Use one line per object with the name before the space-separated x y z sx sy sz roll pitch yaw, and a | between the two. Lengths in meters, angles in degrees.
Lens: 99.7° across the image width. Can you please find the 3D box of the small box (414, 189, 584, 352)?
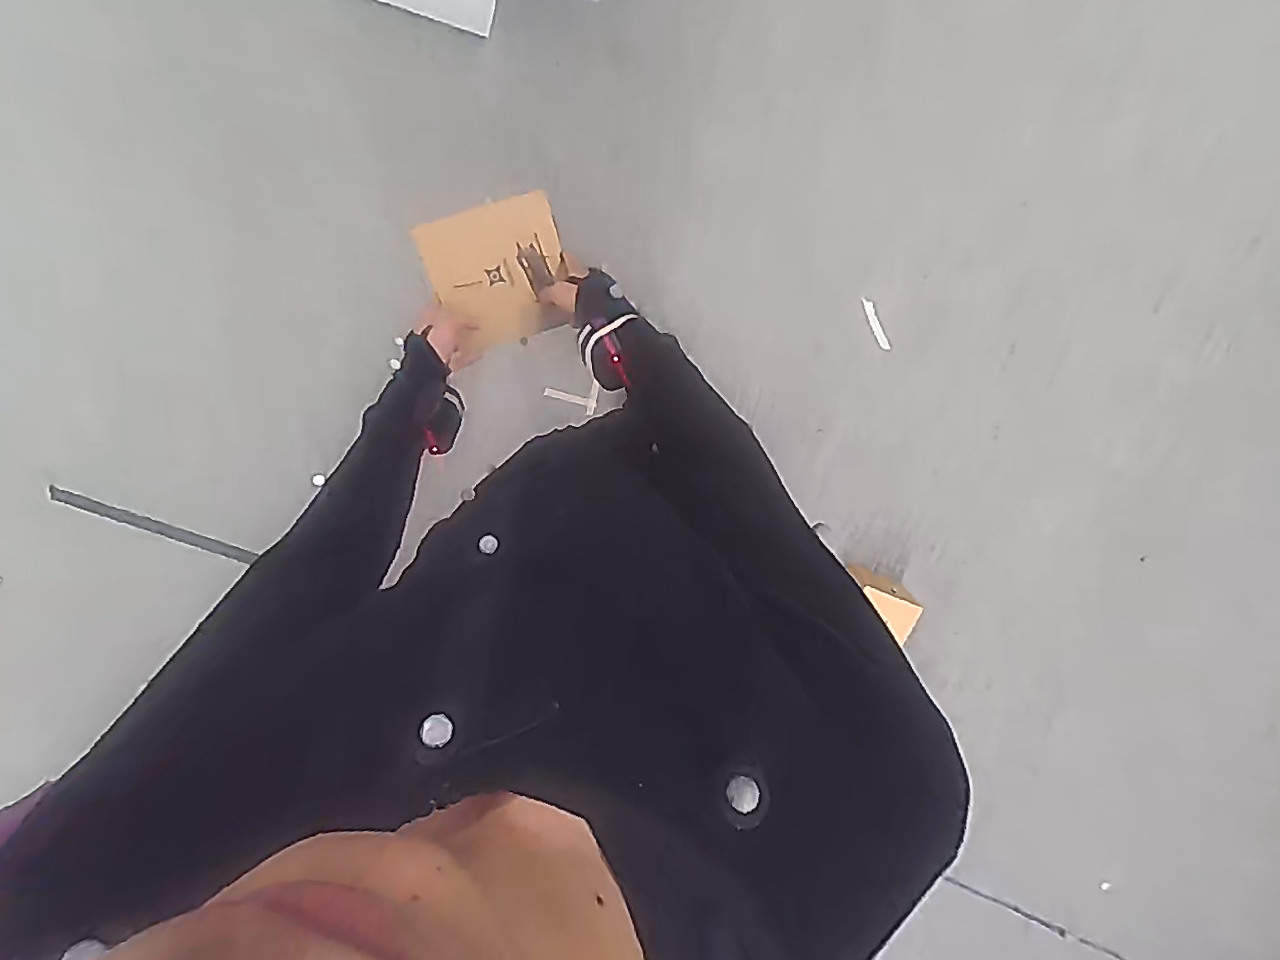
small box | -0.187 -0.294 0.769 0.179 0.176 0.168 -16 111 -1
